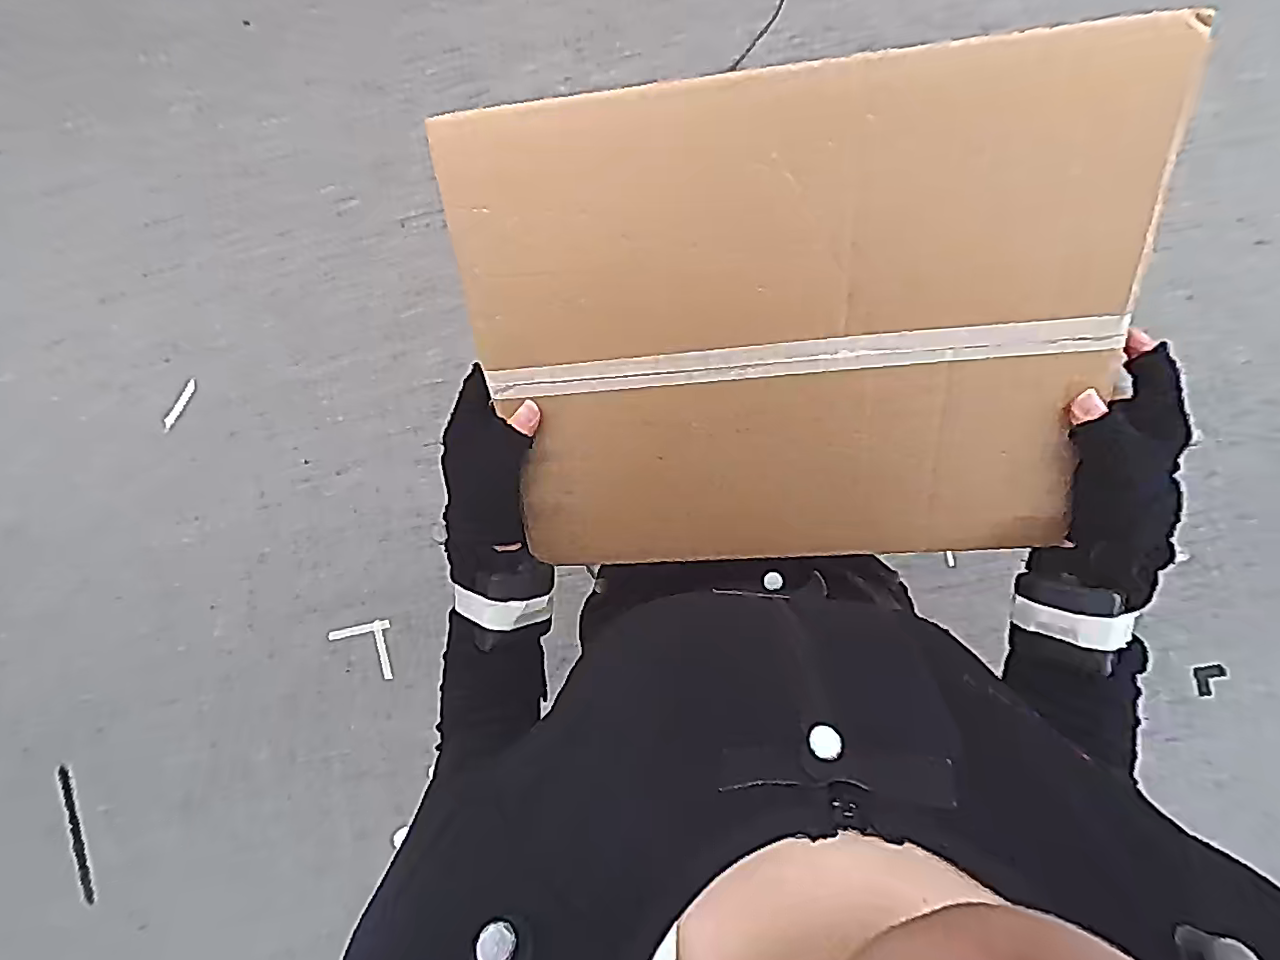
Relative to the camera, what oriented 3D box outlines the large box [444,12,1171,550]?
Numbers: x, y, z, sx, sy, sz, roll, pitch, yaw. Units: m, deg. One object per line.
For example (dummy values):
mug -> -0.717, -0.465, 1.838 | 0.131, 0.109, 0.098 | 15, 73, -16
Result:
large box -> 0.103, -0.156, 0.497 | 0.408, 0.320, 0.320 | -3, 118, 7
